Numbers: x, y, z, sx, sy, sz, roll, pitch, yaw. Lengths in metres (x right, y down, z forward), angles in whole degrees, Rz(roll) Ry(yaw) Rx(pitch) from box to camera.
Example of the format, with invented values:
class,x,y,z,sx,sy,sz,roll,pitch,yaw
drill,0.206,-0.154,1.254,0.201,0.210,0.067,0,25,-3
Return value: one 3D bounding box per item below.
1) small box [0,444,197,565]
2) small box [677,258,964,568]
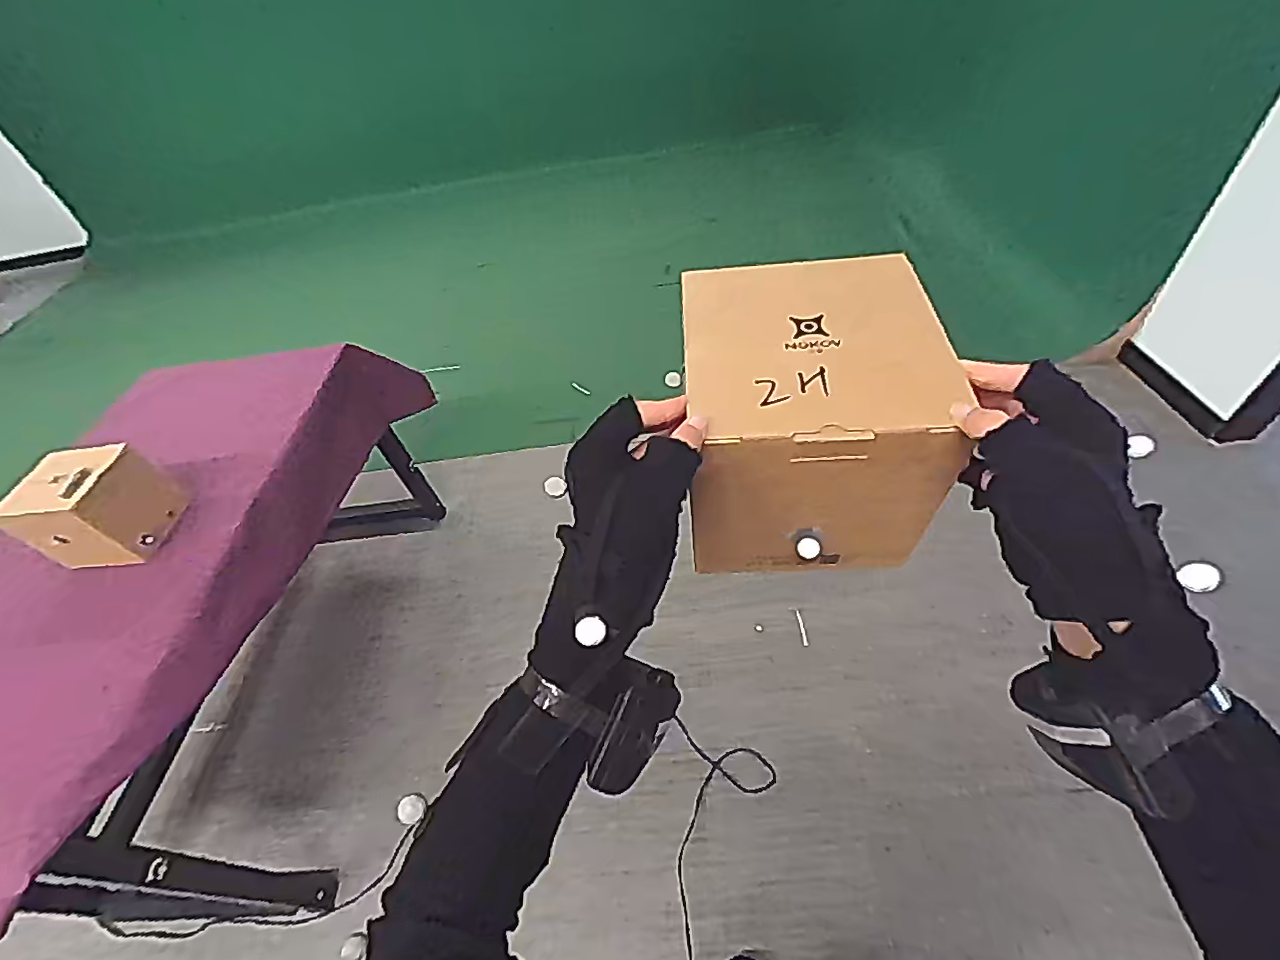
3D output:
class,x,y,z,sx,sy,sz,roll,pitch,yaw
small box,-1.041,0.051,1.062,0.179,0.176,0.168,-6,48,7
small box,0.115,-0.047,0.428,0.168,0.176,0.179,-3,53,7
